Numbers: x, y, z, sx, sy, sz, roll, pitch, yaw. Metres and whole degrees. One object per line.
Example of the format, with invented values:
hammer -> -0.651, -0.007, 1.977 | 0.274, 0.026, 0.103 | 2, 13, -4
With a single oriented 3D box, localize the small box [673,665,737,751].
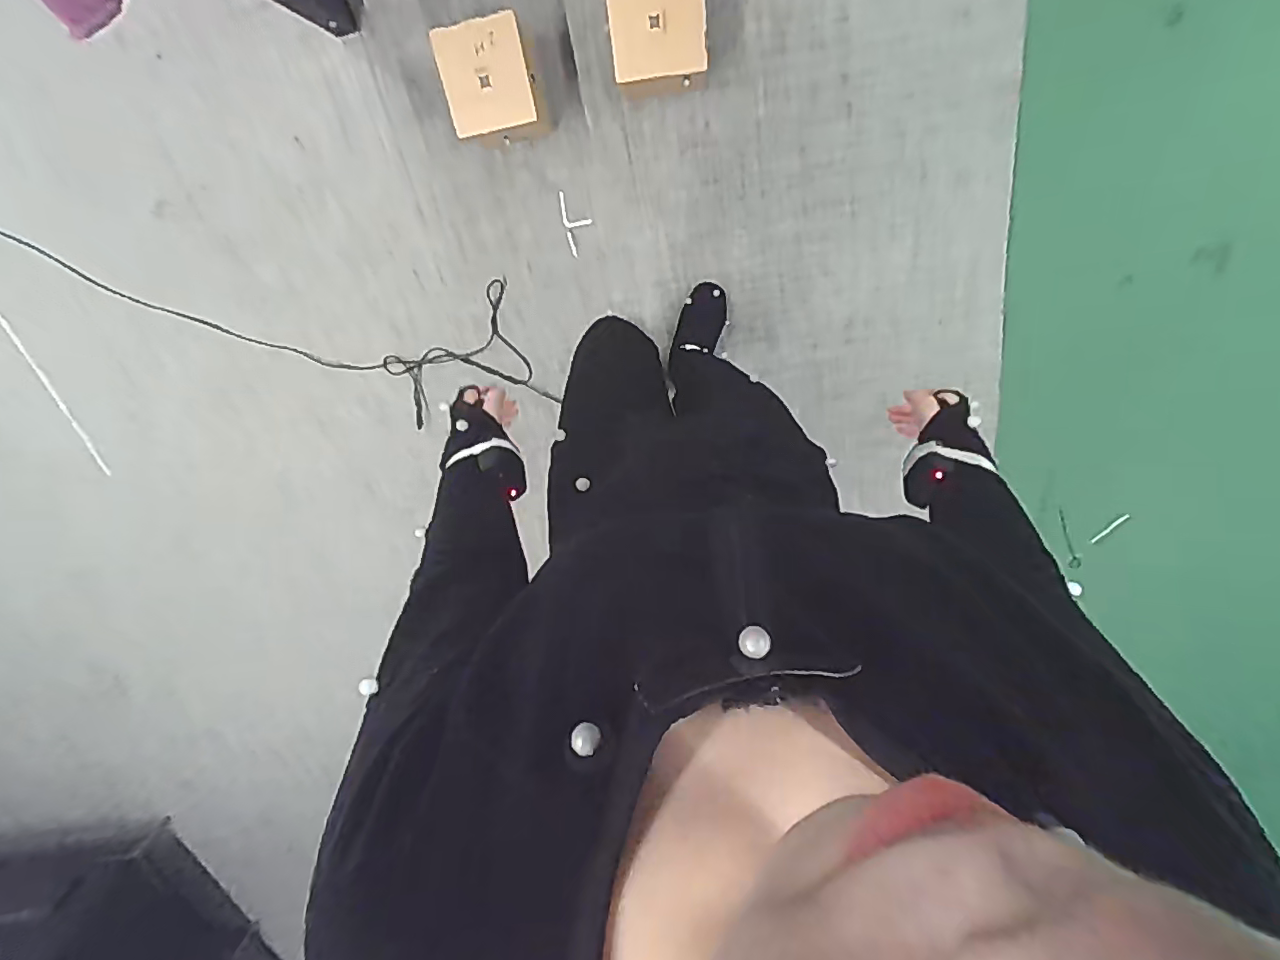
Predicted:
small box -> 0.183, 0.657, 1.570 | 0.179, 0.176, 0.168 | -2, 115, 2

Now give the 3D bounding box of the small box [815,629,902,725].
small box -> 0.596, 0.535, 1.493 | 0.168, 0.176, 0.179 | -18, 114, 11
